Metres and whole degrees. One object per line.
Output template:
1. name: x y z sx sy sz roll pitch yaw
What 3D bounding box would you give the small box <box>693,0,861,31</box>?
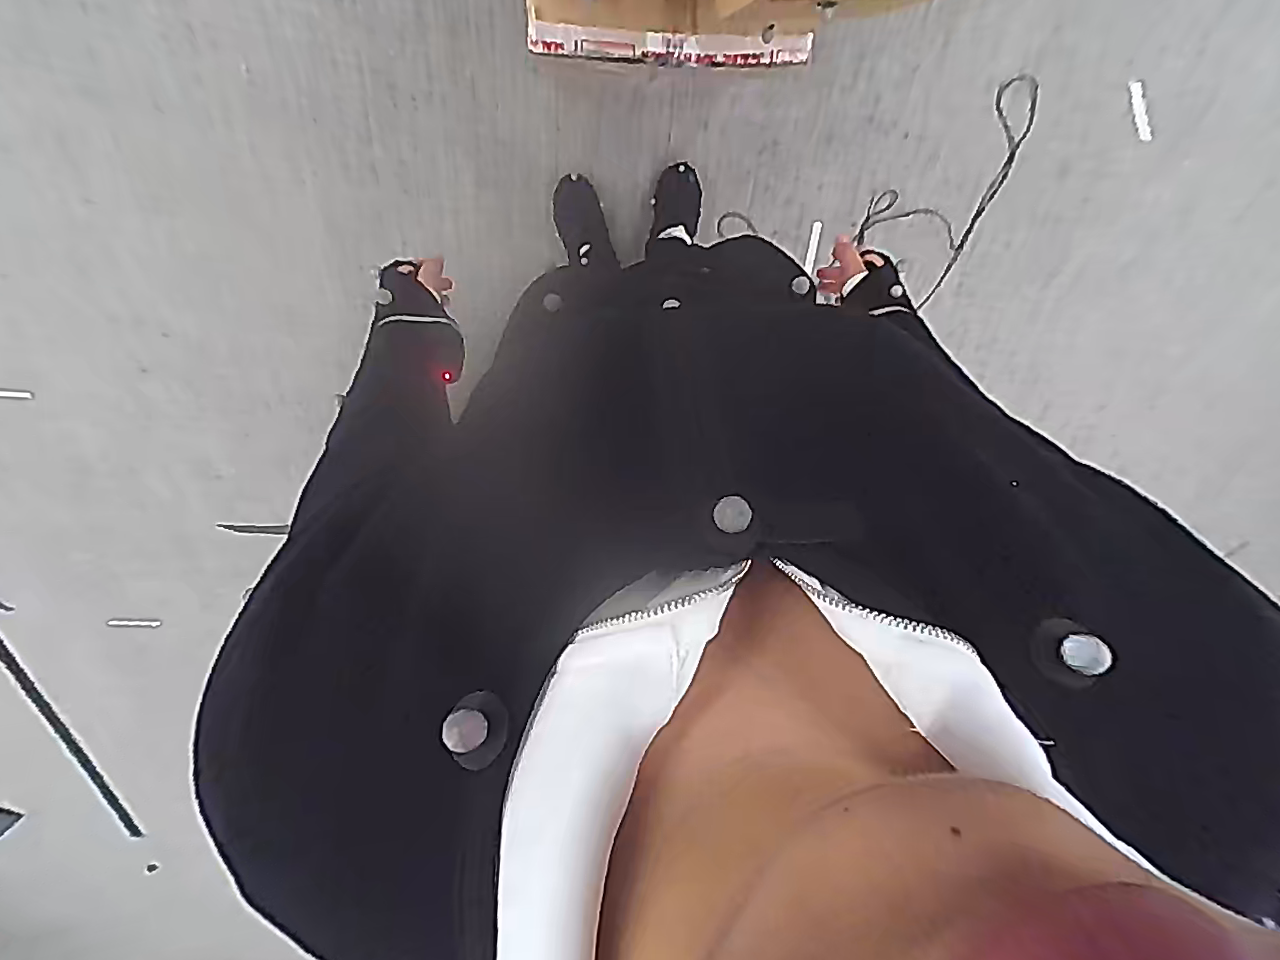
1. small box: 0.164 -0.637 0.626 0.179 0.176 0.168 -4 125 -3

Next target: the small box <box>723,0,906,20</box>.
1. small box: 0.178 -0.537 0.493 0.179 0.176 0.168 -5 126 -4

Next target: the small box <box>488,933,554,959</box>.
1. small box: -0.353 1.445 1.561 0.168 0.176 0.179 18 119 -16
